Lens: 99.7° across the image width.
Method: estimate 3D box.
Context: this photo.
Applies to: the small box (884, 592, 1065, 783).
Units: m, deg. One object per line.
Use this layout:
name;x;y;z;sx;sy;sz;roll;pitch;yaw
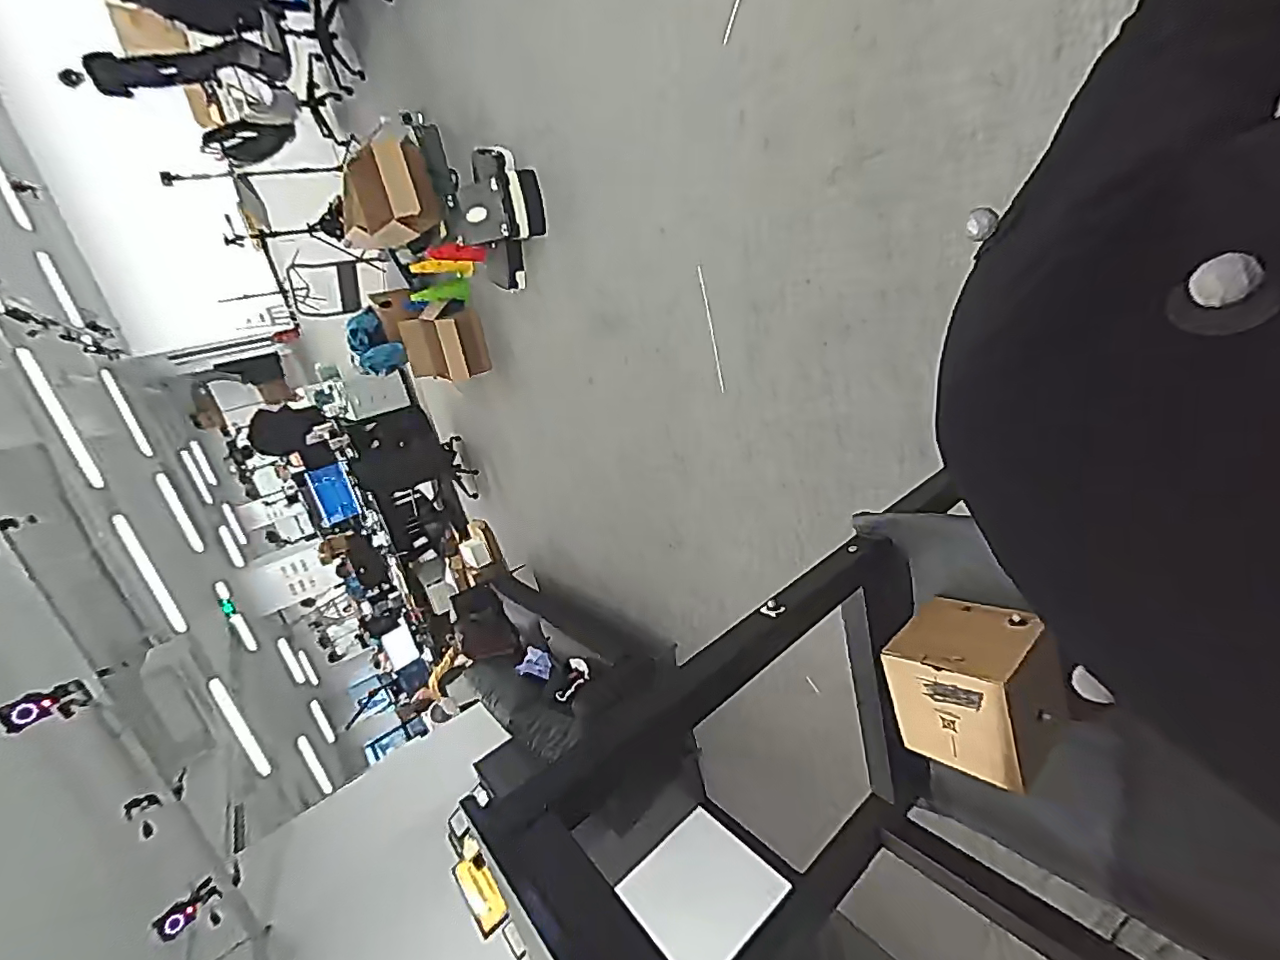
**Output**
small box;0.494;0.288;0.797;0.168;0.176;0.179;1;113;55
